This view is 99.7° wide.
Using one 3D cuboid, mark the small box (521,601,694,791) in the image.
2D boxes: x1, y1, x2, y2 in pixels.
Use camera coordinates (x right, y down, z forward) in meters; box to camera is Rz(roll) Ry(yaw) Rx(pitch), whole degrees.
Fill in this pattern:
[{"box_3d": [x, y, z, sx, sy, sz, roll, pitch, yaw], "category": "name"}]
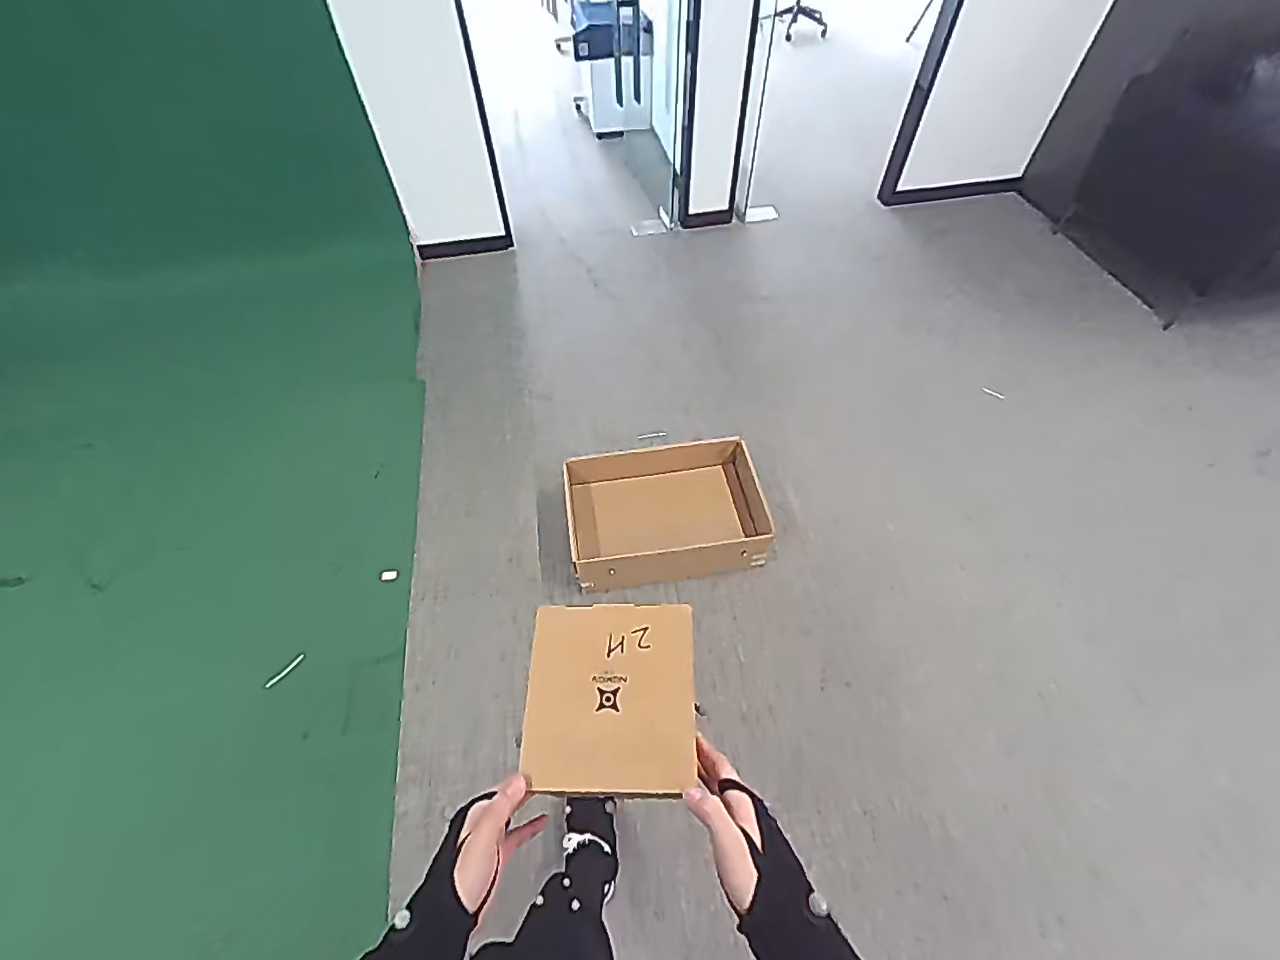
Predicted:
[{"box_3d": [-0.022, 0.247, 0.610, 0.168, 0.176, 0.179, -1, 58, 4], "category": "small box"}]
